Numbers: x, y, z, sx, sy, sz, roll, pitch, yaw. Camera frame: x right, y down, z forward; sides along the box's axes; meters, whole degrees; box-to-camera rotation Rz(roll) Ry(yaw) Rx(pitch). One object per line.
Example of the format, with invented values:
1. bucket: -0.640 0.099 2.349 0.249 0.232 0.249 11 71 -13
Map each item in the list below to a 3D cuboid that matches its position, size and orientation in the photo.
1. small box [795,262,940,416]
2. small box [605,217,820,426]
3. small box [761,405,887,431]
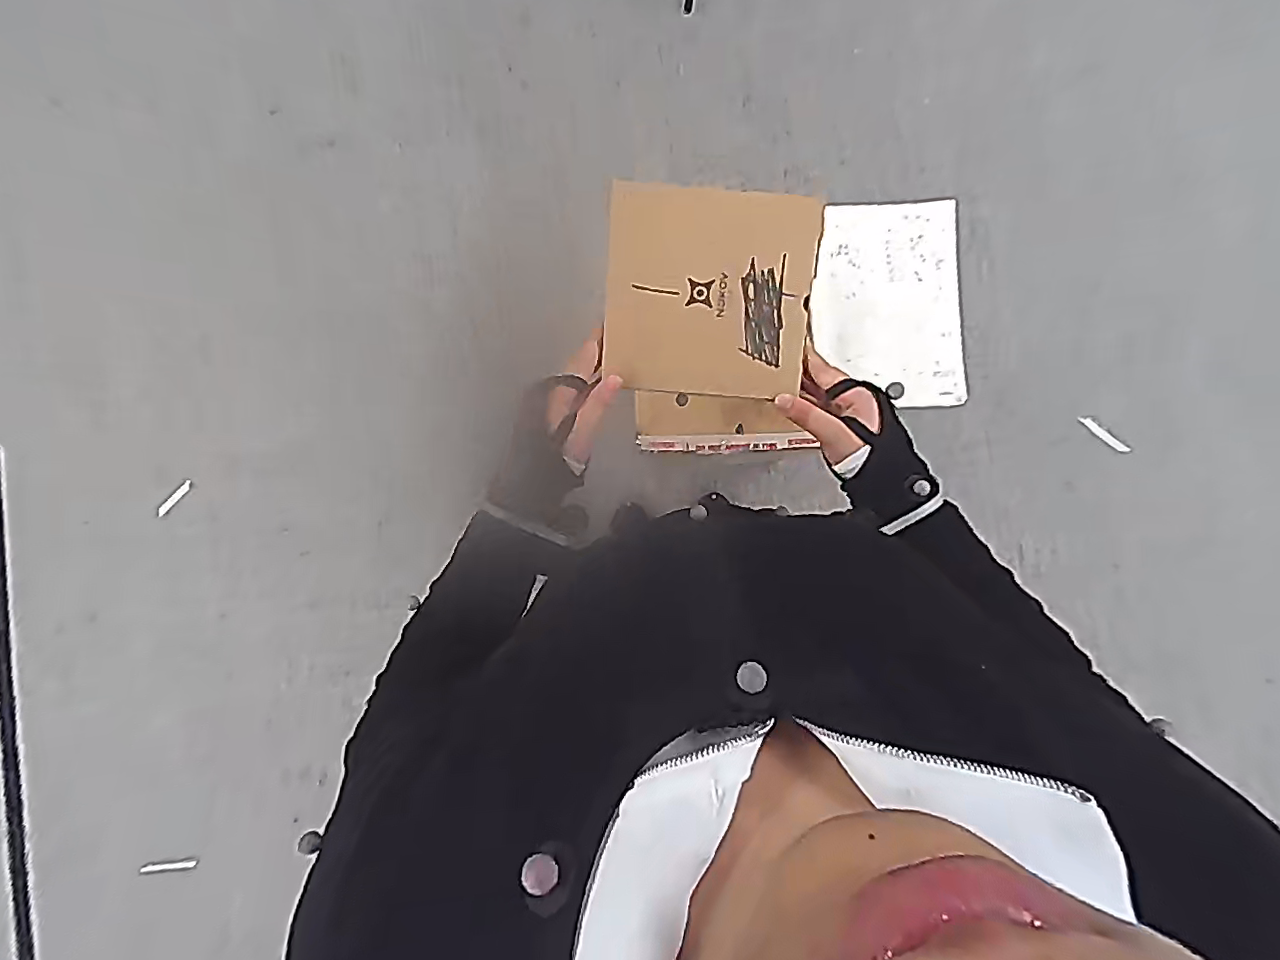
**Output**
1. small box: 0.311 -0.200 0.805 0.168 0.176 0.179 -6 89 -2
2. small box: 0.059 -0.153 0.551 0.179 0.176 0.168 4 102 -2
3. small box: 0.311 -0.187 0.968 0.179 0.176 0.168 -9 89 -1
